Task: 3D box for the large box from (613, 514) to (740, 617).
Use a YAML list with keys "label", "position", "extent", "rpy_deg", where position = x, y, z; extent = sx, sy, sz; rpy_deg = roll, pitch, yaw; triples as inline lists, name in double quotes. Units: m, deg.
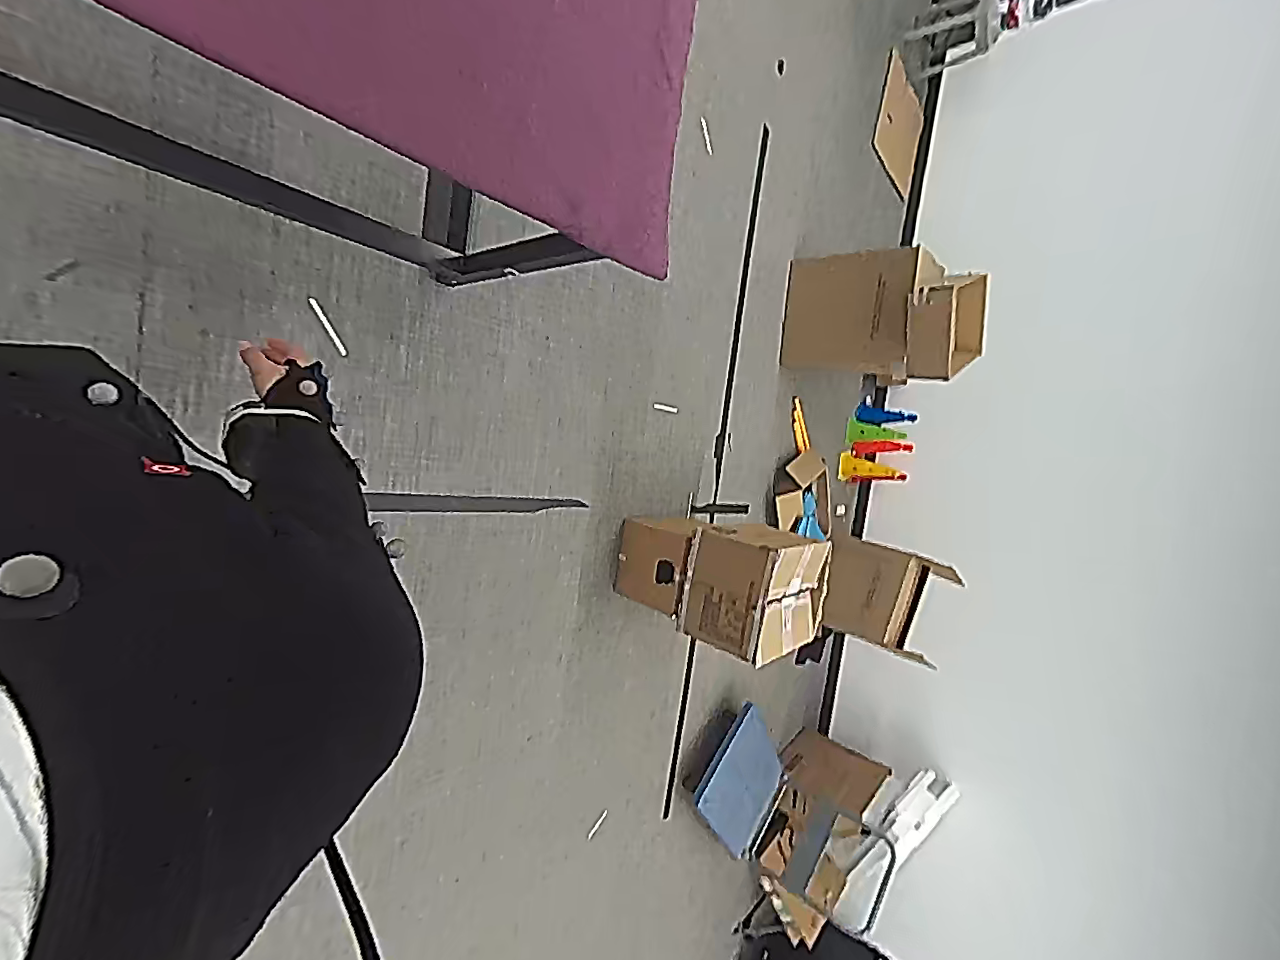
- label: "large box"
  position: [0.150, 0.324, 2.193]
  extent: [0.408, 0.320, 0.320]
  rpy_deg: [2, 98, -48]
